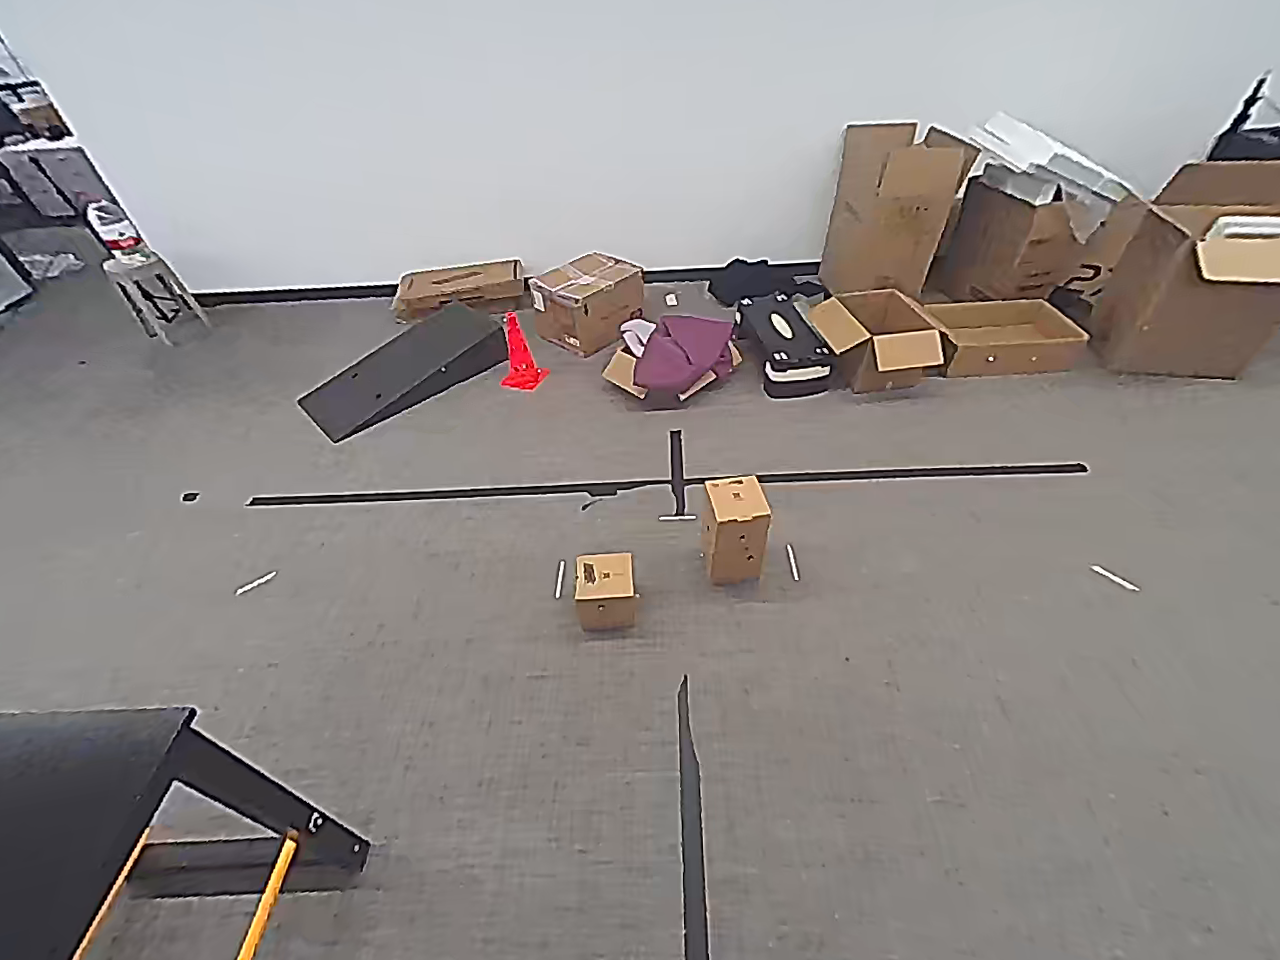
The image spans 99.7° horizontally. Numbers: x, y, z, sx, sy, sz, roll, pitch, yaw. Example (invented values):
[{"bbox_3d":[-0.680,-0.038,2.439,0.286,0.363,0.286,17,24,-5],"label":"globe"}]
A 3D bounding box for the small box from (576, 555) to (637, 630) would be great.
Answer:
[{"bbox_3d":[-0.103,0.359,1.709,0.179,0.176,0.168,-4,43,0],"label":"small box"}]

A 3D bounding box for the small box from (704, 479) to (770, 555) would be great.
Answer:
[{"bbox_3d":[0.298,0.122,1.695,0.168,0.176,0.179,-7,44,-3],"label":"small box"}]

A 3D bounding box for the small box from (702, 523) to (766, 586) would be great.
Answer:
[{"bbox_3d":[0.308,0.235,1.813,0.179,0.176,0.168,-6,43,-2],"label":"small box"}]
